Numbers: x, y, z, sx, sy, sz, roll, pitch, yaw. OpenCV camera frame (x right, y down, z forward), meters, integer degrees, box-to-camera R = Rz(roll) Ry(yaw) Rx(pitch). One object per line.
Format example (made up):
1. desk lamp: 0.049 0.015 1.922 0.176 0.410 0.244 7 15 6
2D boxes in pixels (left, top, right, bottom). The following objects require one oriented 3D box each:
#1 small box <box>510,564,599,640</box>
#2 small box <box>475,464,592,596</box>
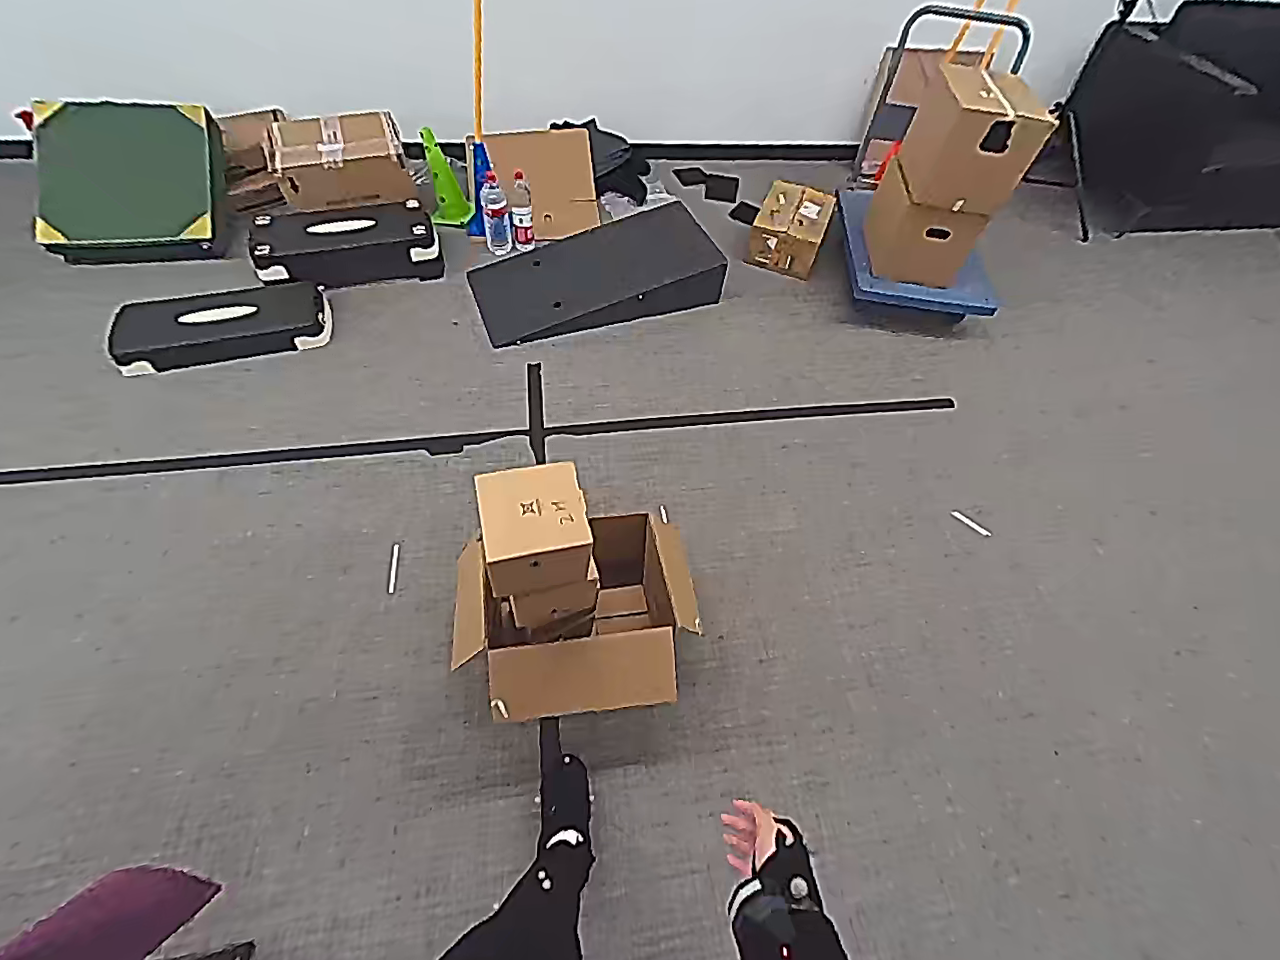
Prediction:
1. small box: -0.211 0.248 1.264 0.179 0.176 0.168 -21 63 -22
2. small box: -0.190 0.094 0.972 0.179 0.176 0.168 -9 61 -15
